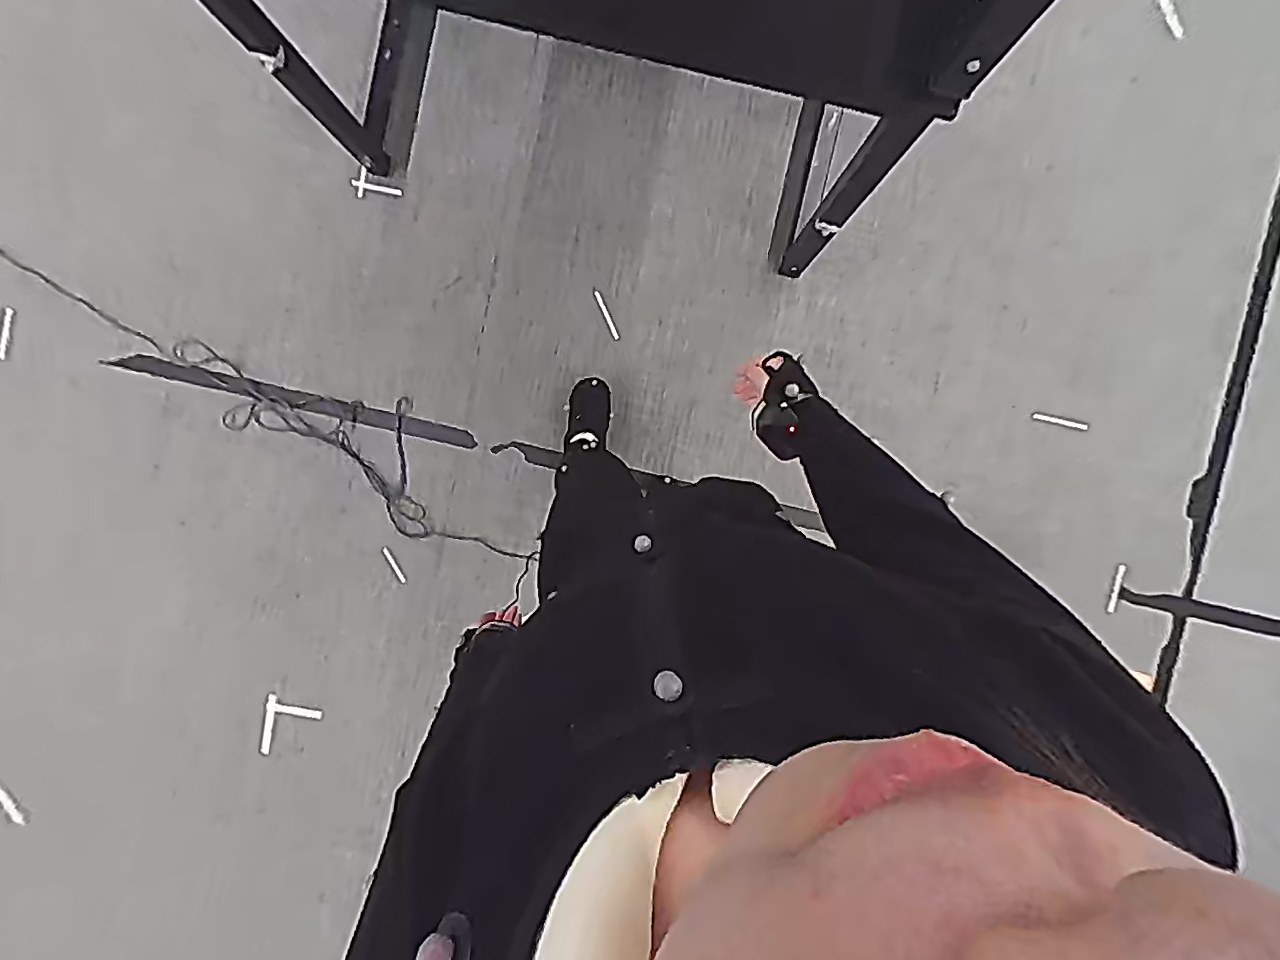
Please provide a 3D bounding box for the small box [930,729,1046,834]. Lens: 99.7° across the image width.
[{"bbox_3d":[0.919,0.796,1.443,0.179,0.176,0.168,14,93,-1],"label":"small box"}]
